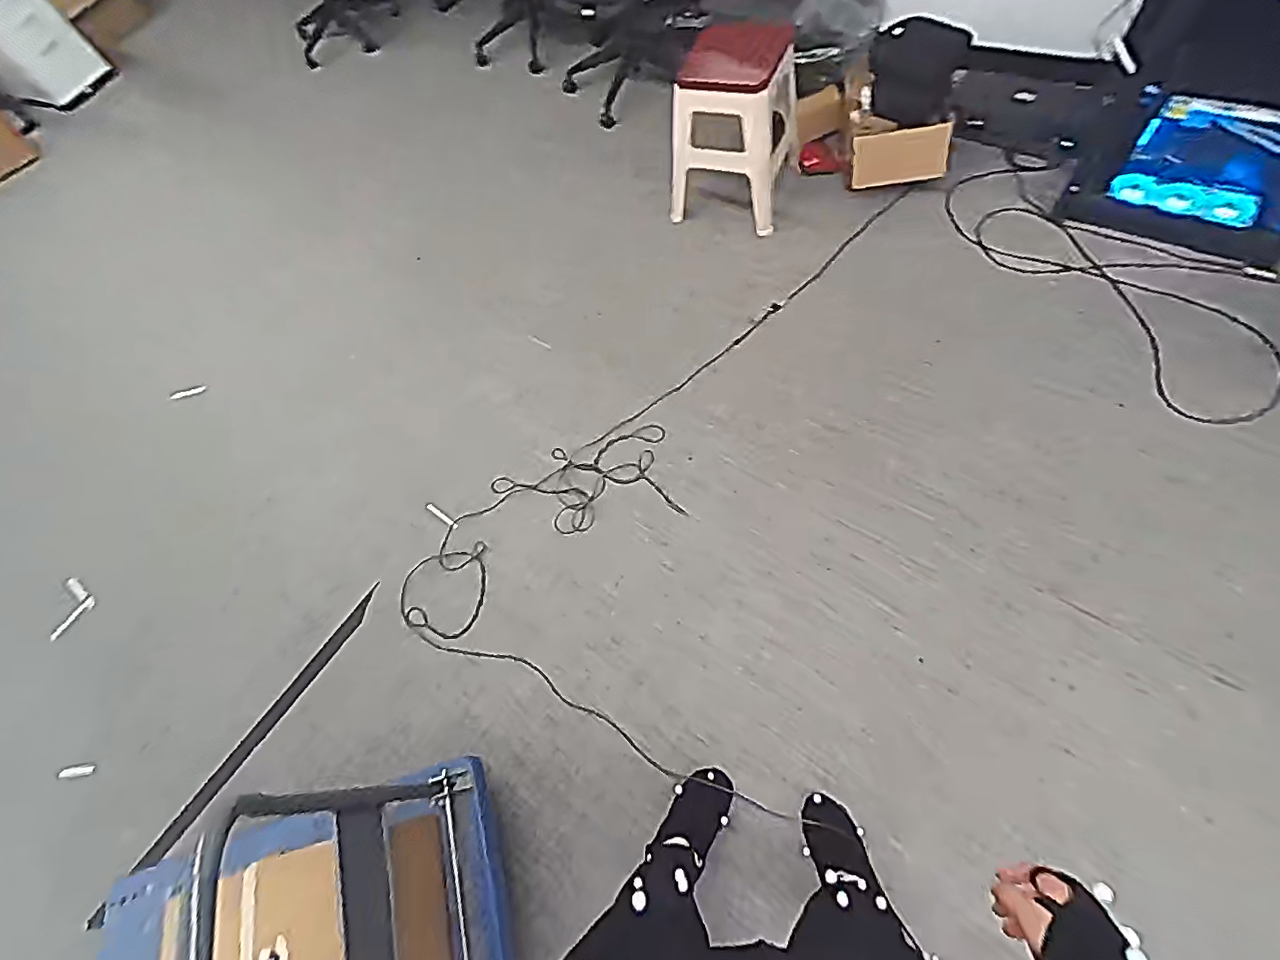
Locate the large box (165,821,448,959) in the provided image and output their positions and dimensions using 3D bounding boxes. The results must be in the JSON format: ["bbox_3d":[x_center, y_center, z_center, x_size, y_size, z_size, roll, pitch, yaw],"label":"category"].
[{"bbox_3d":[-0.544,0.869,0.923,0.320,0.320,0.408,-19,62,1],"label":"large box"}]
